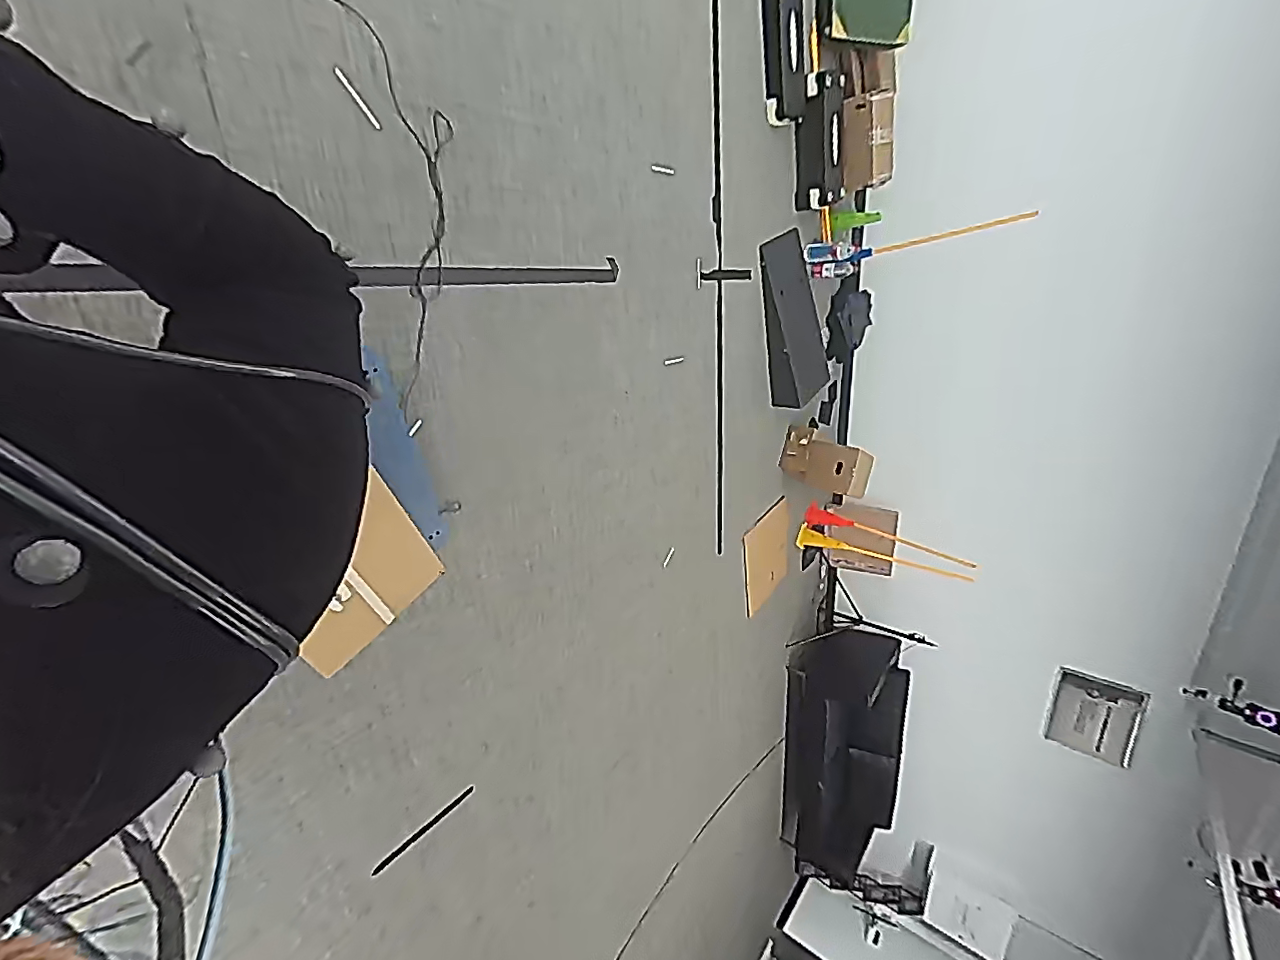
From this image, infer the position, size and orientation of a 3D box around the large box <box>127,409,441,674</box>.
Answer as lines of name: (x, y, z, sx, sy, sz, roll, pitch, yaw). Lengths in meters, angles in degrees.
large box: (-0.704, 0.112, 1.112, 0.320, 0.320, 0.408, -47, 134, -33)
